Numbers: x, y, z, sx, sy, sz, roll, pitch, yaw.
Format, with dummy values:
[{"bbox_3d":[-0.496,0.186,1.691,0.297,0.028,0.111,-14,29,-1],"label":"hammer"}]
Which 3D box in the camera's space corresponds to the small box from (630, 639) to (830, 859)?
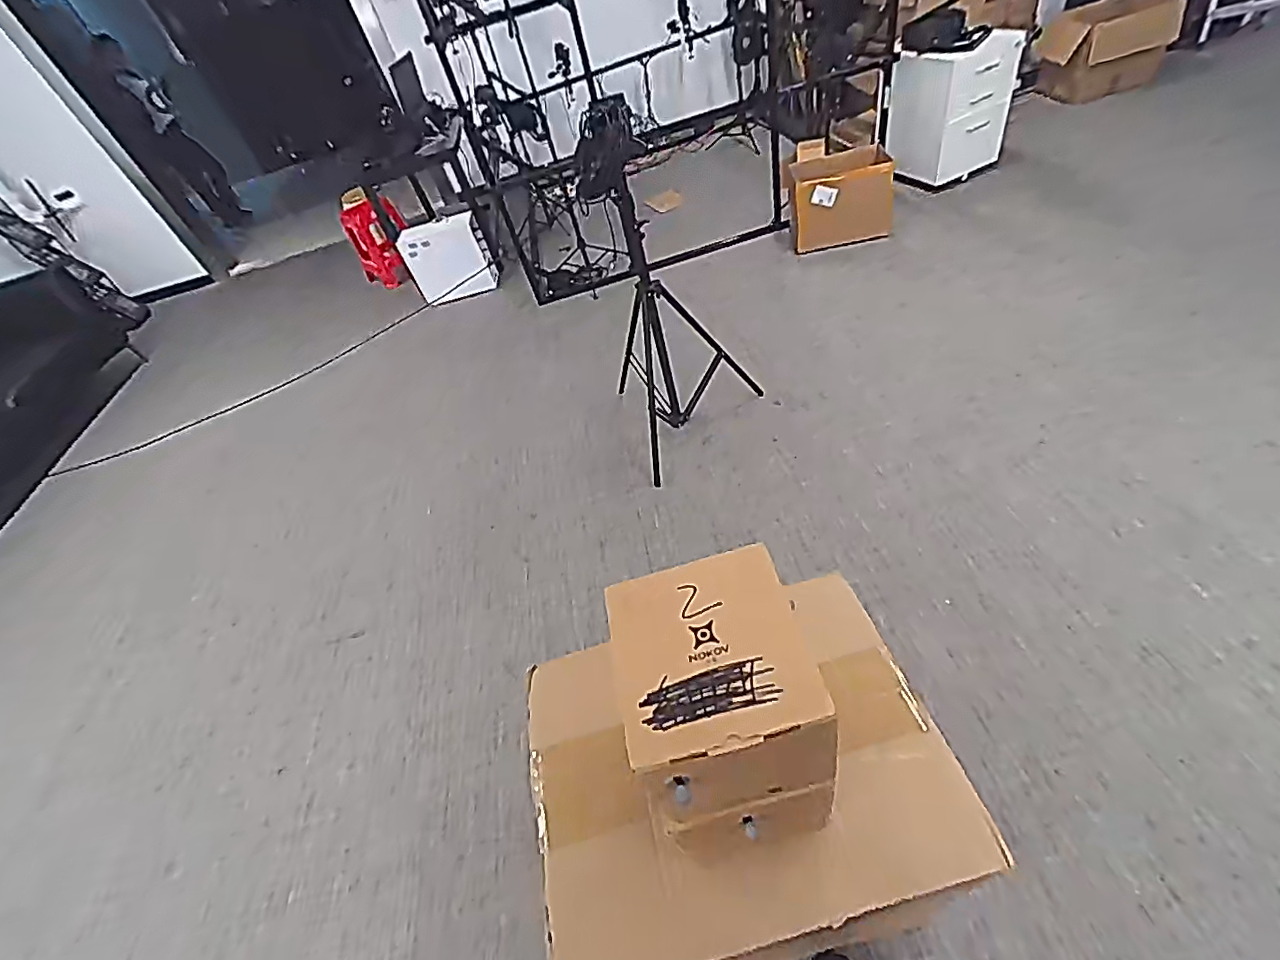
[{"bbox_3d":[0.103,0.318,0.636,0.179,0.176,0.168,-18,45,1],"label":"small box"}]
